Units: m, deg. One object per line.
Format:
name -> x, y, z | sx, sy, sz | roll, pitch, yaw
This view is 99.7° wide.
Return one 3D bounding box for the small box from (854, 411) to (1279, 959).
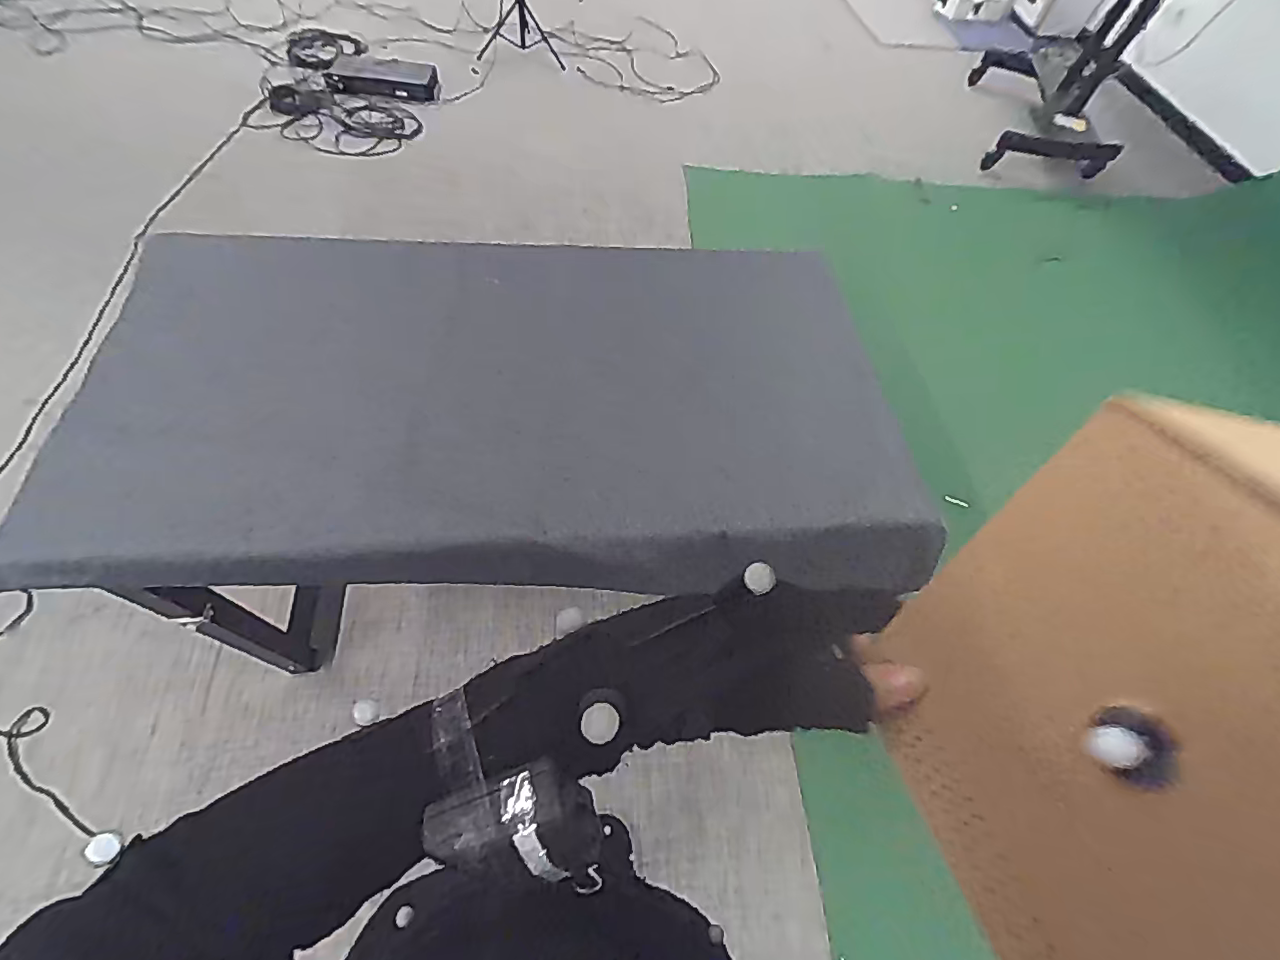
small box -> 0.216, 0.102, 0.189 | 0.168, 0.176, 0.179 | 6, 39, -20
